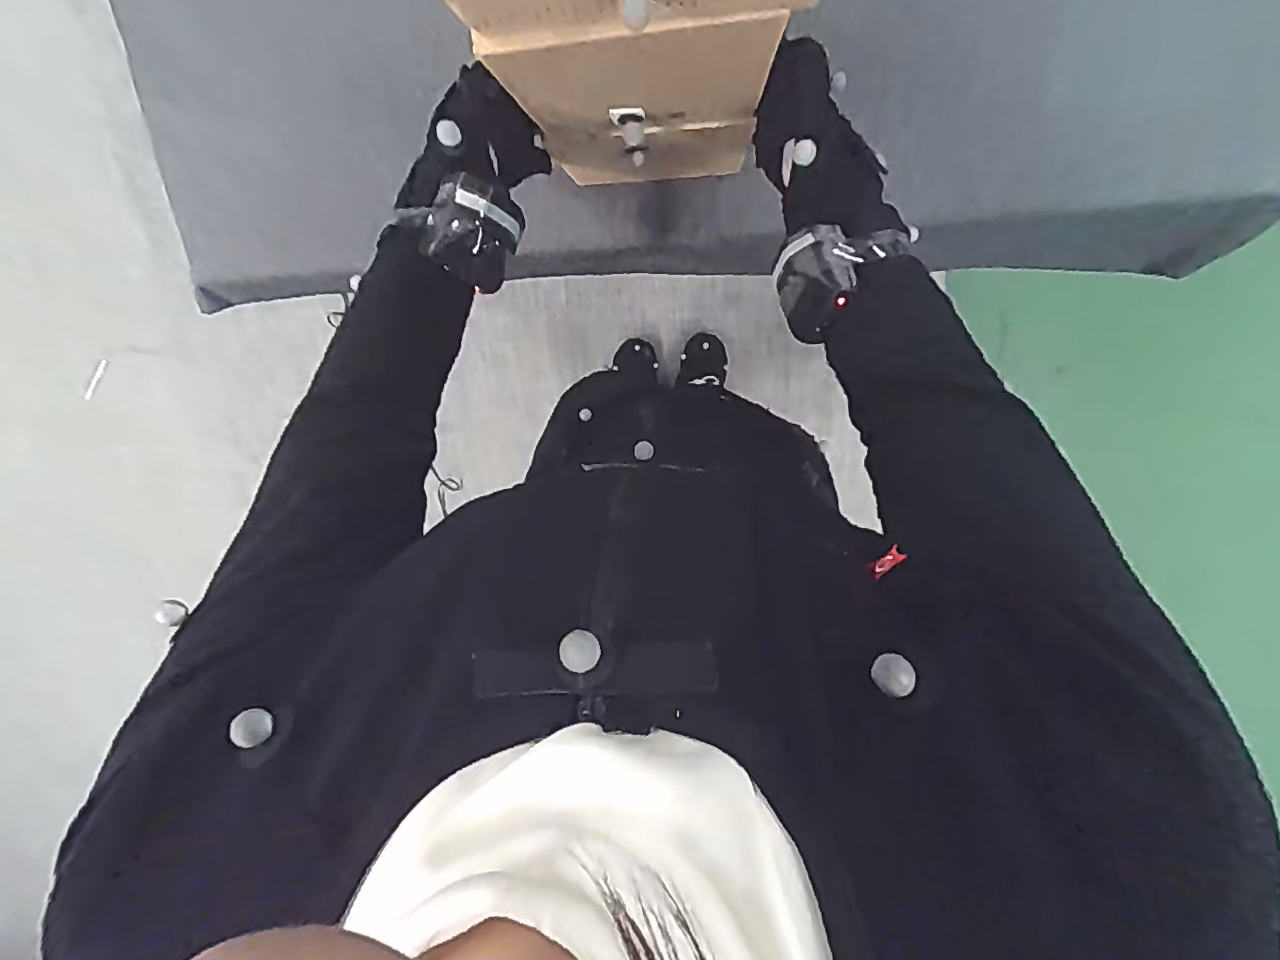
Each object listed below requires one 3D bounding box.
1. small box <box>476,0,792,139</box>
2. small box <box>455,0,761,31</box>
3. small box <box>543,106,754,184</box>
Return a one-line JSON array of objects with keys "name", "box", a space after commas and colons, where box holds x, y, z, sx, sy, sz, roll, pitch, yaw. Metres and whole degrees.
[{"name": "small box", "box": [-0.003, -0.337, 0.329, 0.168, 0.176, 0.179, -3, 109, 7]}, {"name": "small box", "box": [-0.011, -0.285, 0.173, 0.179, 0.176, 0.168, -1, 107, 6]}, {"name": "small box", "box": [0.010, -0.385, 0.500, 0.179, 0.176, 0.168, -2, 108, 5]}]
